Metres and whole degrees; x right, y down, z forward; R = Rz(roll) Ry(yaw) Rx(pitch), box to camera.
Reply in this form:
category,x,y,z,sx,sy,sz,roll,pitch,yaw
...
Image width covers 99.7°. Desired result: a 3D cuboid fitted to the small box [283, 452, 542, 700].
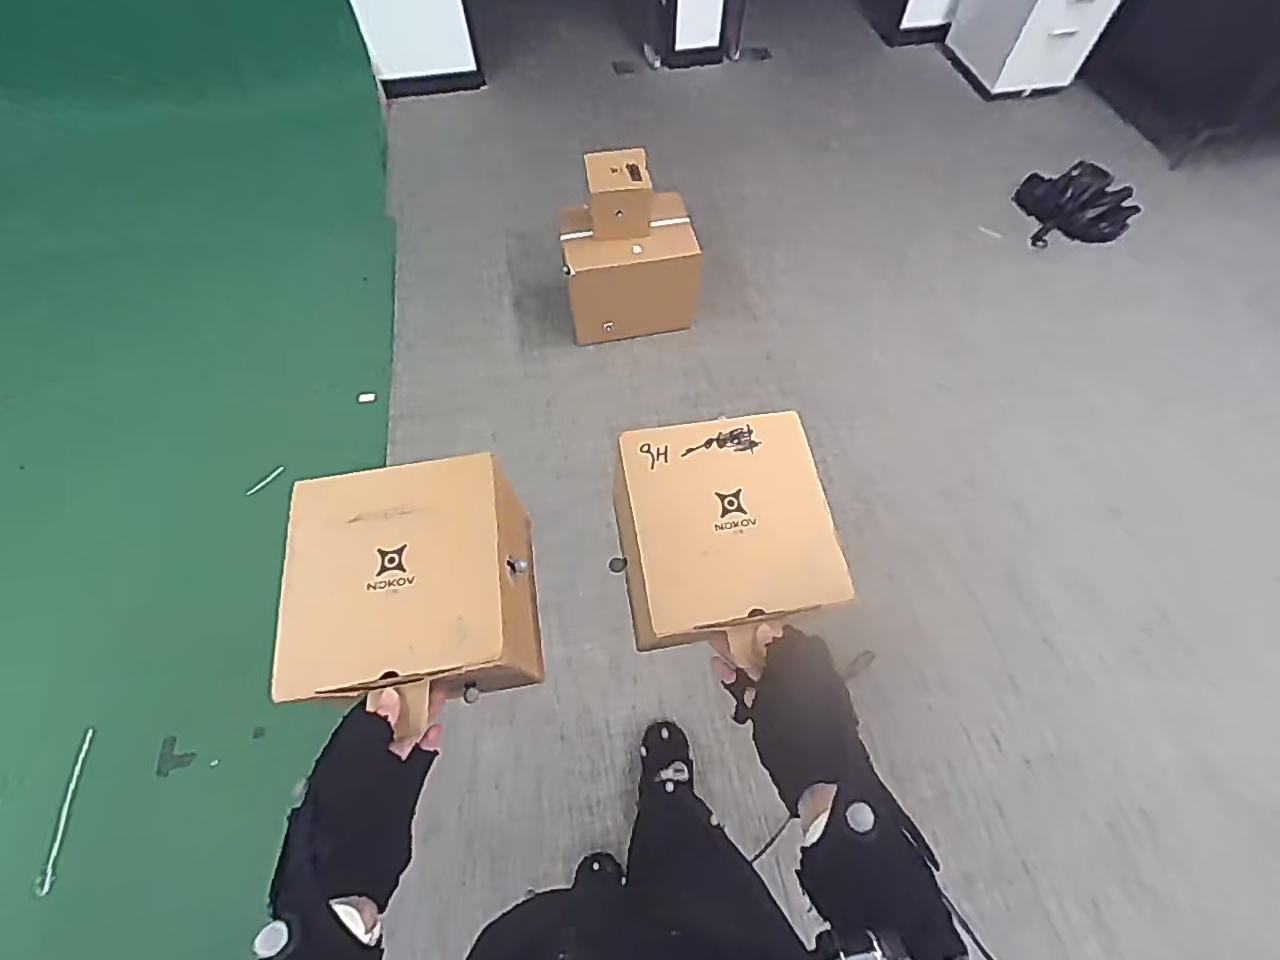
category,x,y,z,sx,sy,sz,roll,pitch,yaw
small box,-0.191,0.099,0.501,0.168,0.176,0.179,-9,64,-5

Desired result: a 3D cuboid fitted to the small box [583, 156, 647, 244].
category,x,y,z,sx,sy,sz,roll,pitch,yaw
small box,-0.076,-0.827,1.605,0.179,0.176,0.168,-5,65,-4
